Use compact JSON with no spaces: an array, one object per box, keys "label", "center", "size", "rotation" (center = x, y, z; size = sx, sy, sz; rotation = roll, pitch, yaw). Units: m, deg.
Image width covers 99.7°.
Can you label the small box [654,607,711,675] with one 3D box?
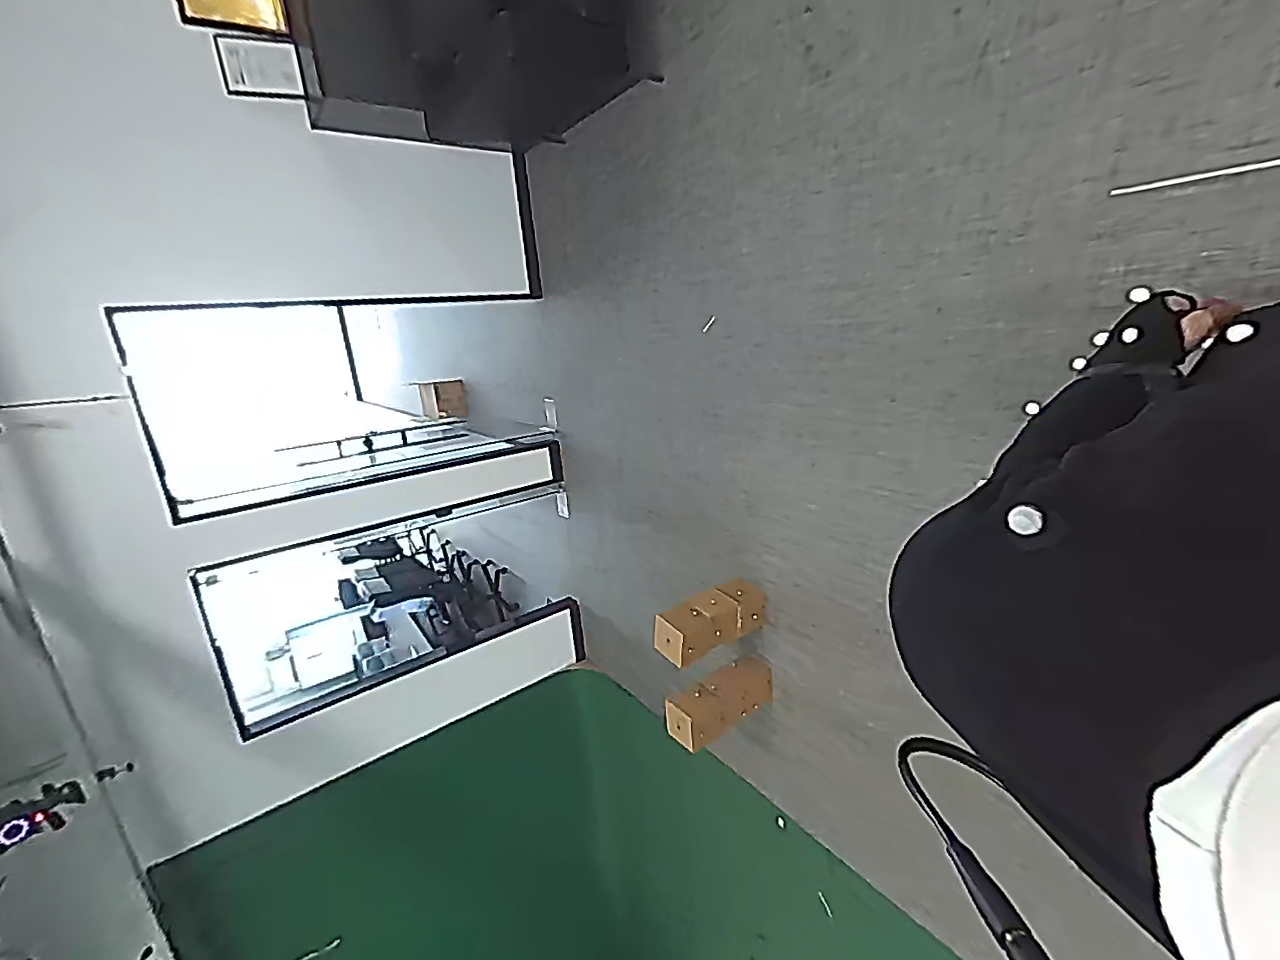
[{"label":"small box","center":[0.174,0.653,2.213],"size":[0.168,0.176,0.179],"rotation":[29,124,46]}]

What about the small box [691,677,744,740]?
[{"label":"small box","center":[0.346,0.999,2.383],"size":[0.179,0.176,0.168],"rotation":[14,112,53]}]

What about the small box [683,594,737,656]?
[{"label":"small box","center":[0.297,0.612,2.312],"size":[0.168,0.176,0.179],"rotation":[24,121,49]}]

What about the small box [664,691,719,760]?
[{"label":"small box","center":[0.221,1.029,2.279],"size":[0.168,0.176,0.179],"rotation":[14,113,52]}]

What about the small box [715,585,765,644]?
[{"label":"small box","center":[0.432,0.589,2.401],"size":[0.179,0.176,0.168],"rotation":[25,121,47]}]
